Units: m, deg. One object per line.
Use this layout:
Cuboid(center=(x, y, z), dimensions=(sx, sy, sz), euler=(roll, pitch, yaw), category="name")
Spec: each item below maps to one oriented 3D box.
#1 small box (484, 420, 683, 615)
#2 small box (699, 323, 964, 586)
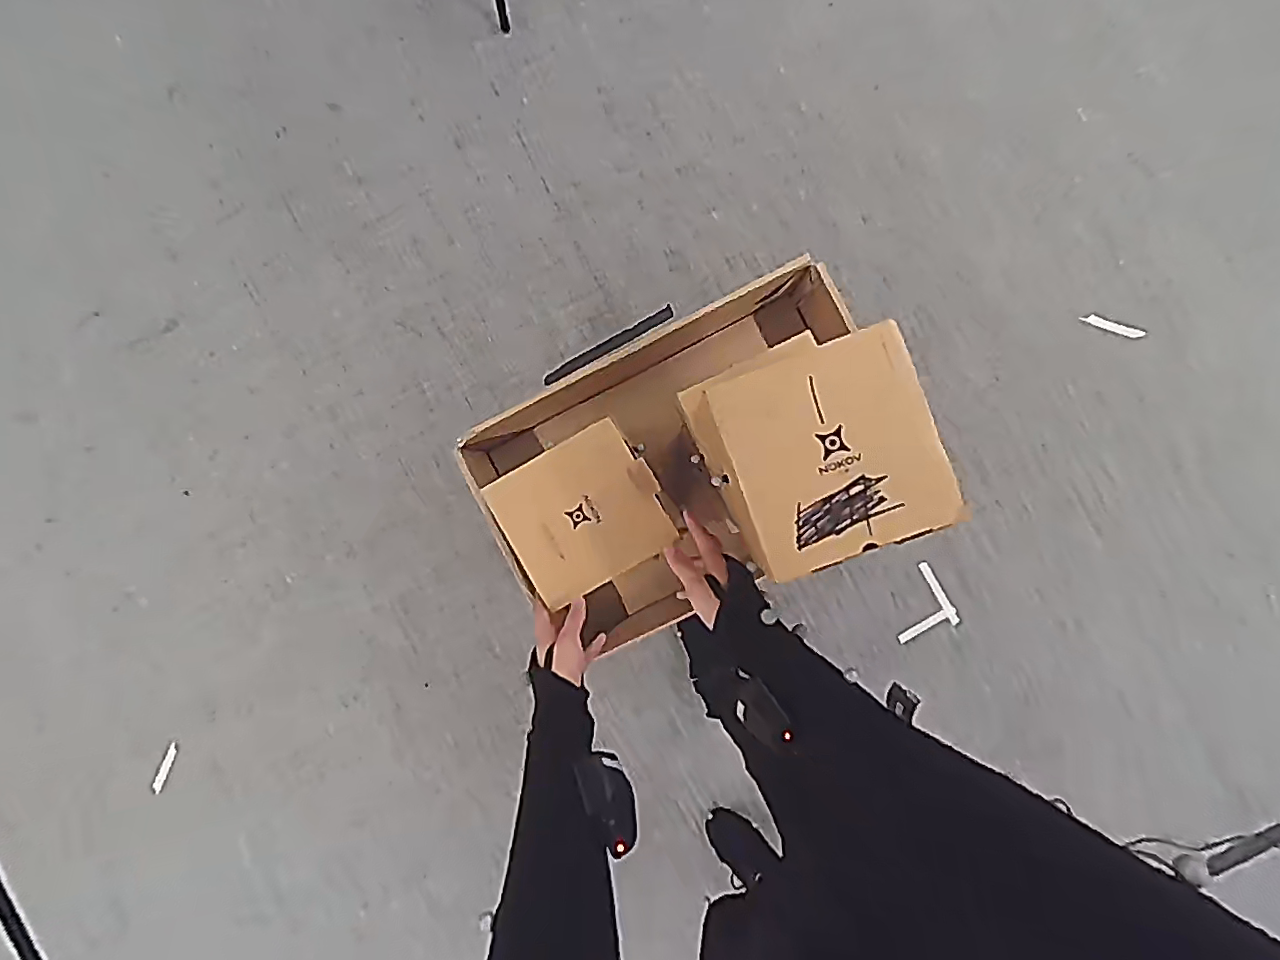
Cuboid(center=(-0.064, 0.041, 0.686), dimensions=(0.179, 0.176, 0.168), euler=(-29, 89, 1), category="small box")
Cuboid(center=(0.162, -0.022, 0.516), dimensions=(0.168, 0.176, 0.179), euler=(-20, 89, 4), category="small box")
